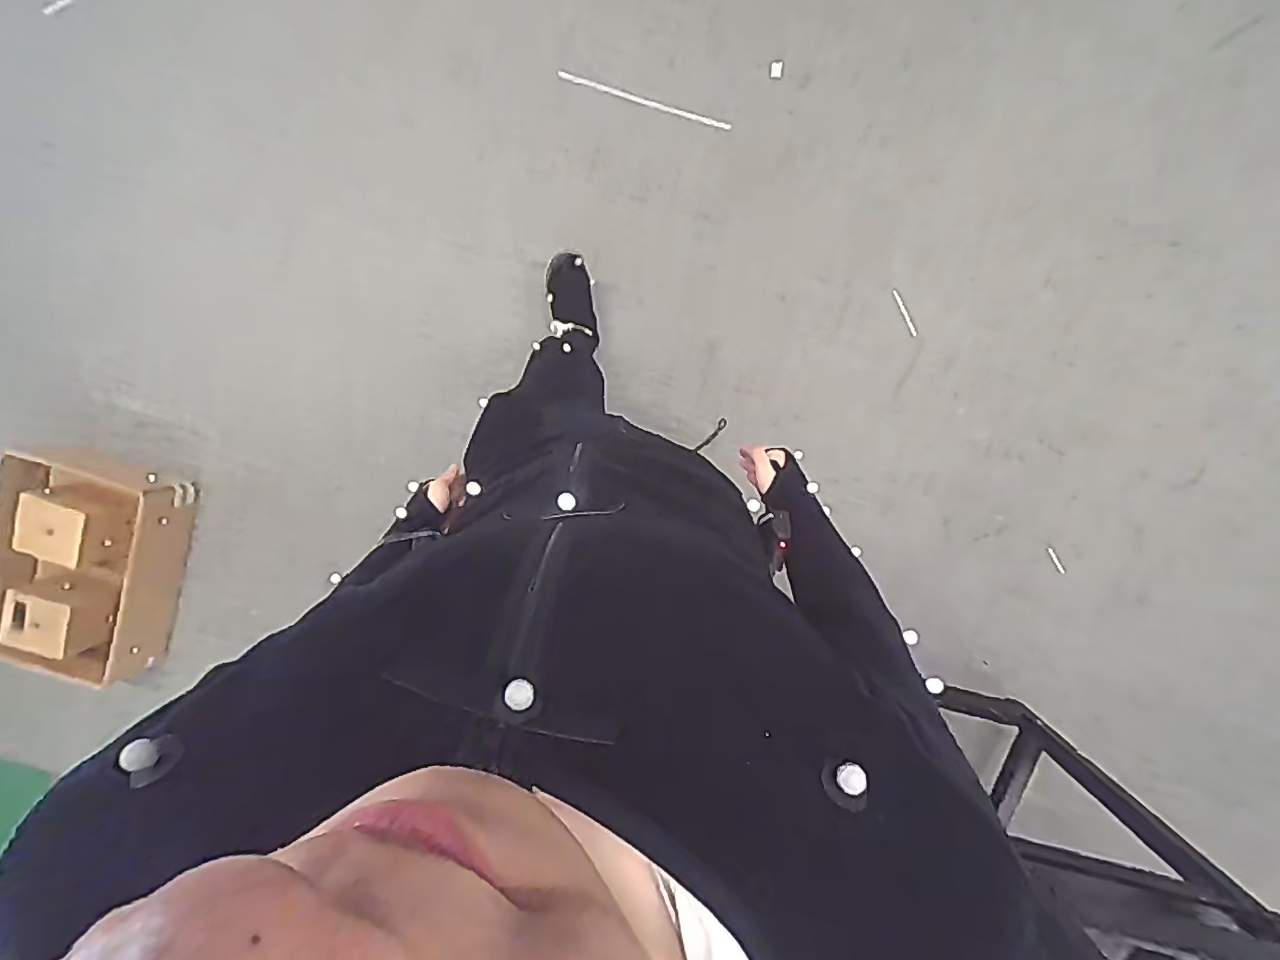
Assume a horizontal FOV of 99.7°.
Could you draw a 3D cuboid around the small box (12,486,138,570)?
[{"bbox_3d":[-1.576,0.126,1.519,0.179,0.176,0.168,19,99,-2],"label":"small box"}]
